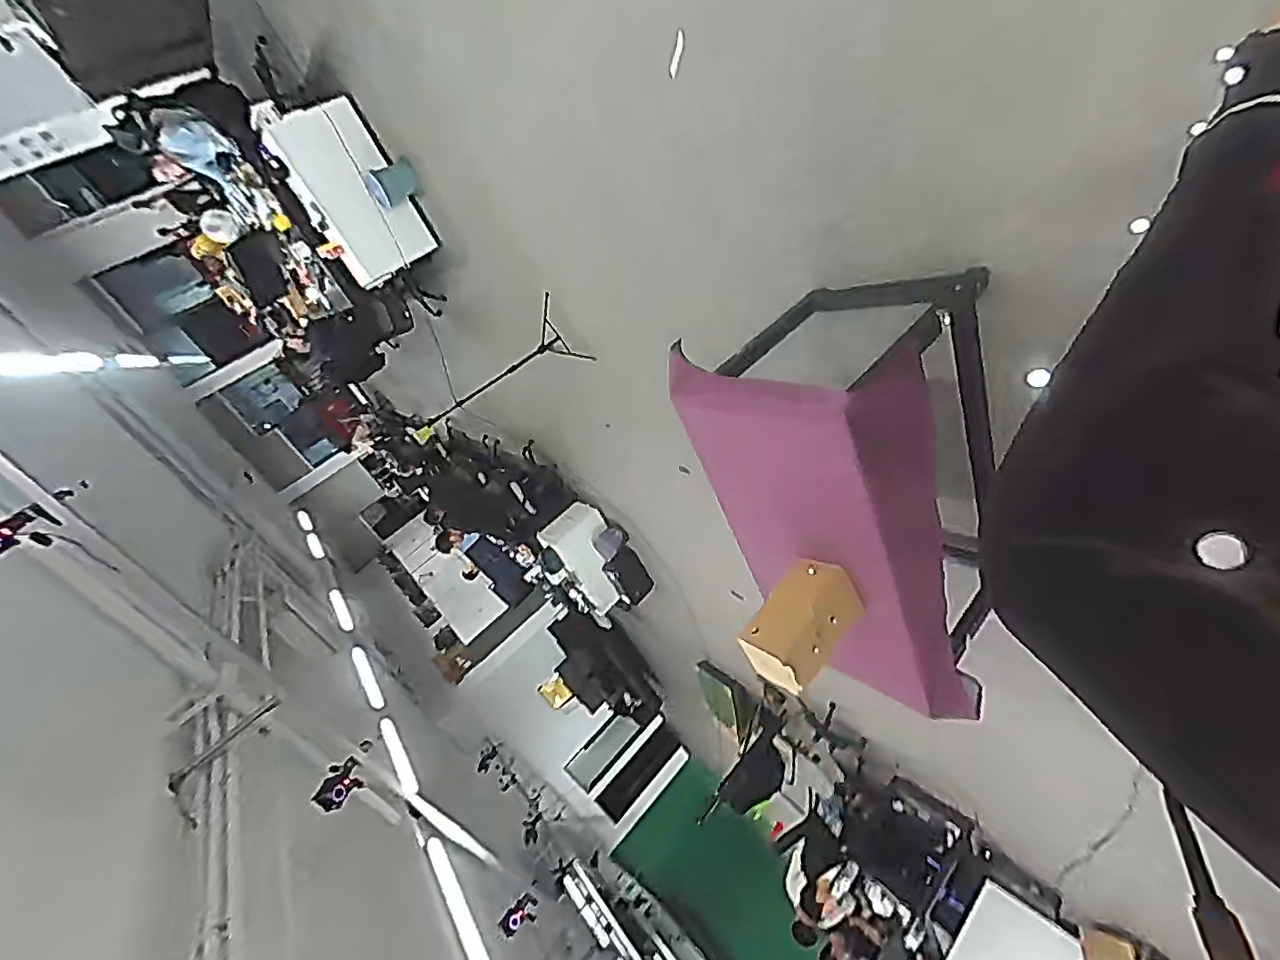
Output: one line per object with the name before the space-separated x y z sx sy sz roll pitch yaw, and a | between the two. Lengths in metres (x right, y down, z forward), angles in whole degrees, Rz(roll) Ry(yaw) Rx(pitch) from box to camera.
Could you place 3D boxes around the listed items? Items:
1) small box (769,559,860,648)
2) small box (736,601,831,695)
small box | 0.530 0.366 1.626 0.168 0.176 0.179 4 130 60
small box | 0.420 0.481 1.579 0.179 0.176 0.168 11 138 56
